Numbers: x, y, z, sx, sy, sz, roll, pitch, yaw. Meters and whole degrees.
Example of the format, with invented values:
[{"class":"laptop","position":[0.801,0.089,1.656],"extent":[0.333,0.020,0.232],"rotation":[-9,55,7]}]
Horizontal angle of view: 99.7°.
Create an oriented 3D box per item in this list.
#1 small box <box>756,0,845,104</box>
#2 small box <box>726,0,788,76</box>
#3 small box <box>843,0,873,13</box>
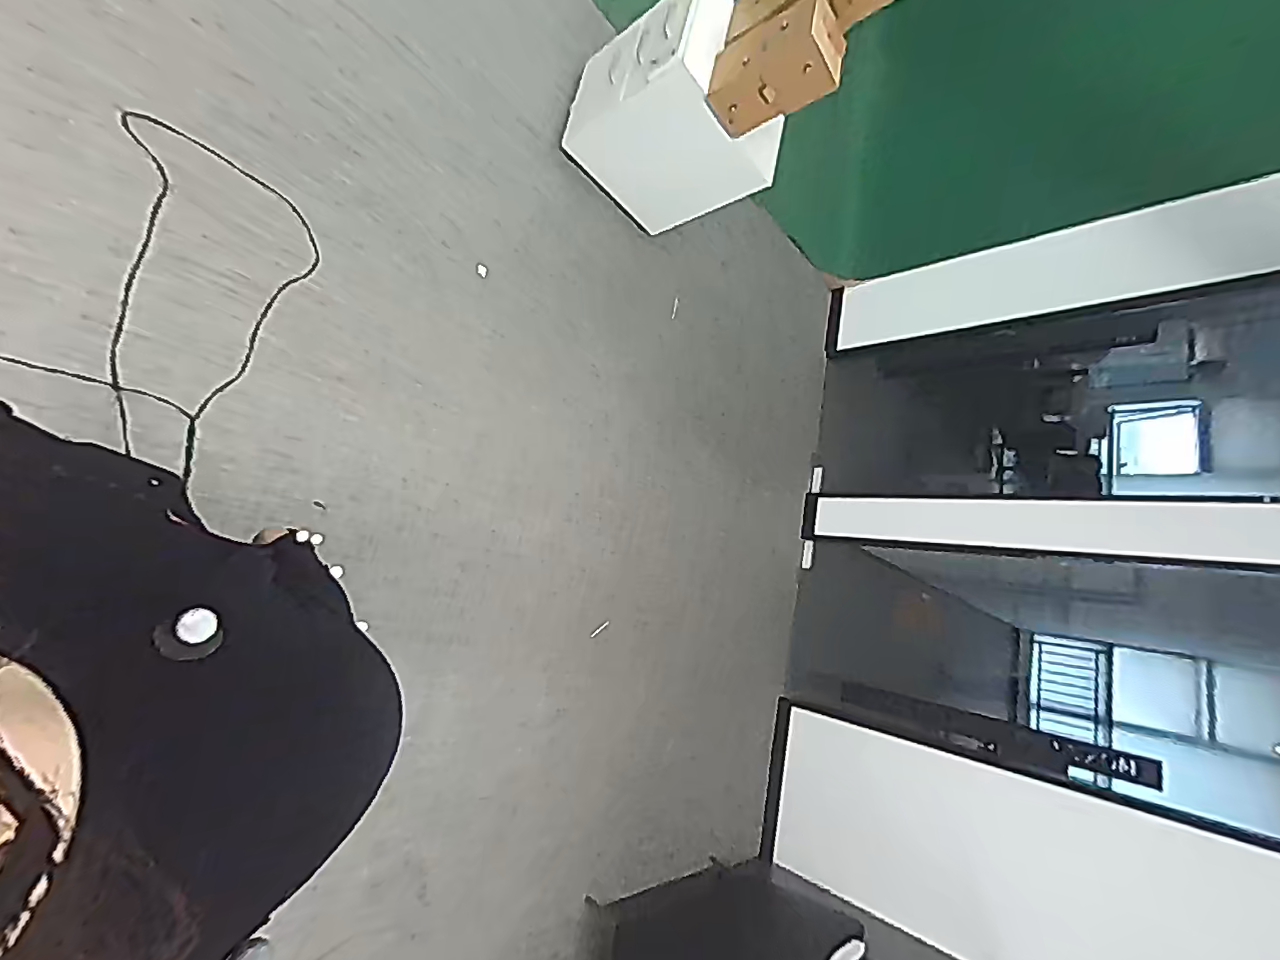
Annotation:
[{"class":"small box","position":[0.439,-1.188,1.483],"extent":[0.179,0.176,0.168],"rotation":[28,71,-44]},{"class":"small box","position":[0.383,-1.406,1.659],"extent":[0.168,0.176,0.179],"rotation":[25,74,-44]},{"class":"small box","position":[0.615,-1.406,1.427],"extent":[0.168,0.176,0.179],"rotation":[27,71,-45]}]
